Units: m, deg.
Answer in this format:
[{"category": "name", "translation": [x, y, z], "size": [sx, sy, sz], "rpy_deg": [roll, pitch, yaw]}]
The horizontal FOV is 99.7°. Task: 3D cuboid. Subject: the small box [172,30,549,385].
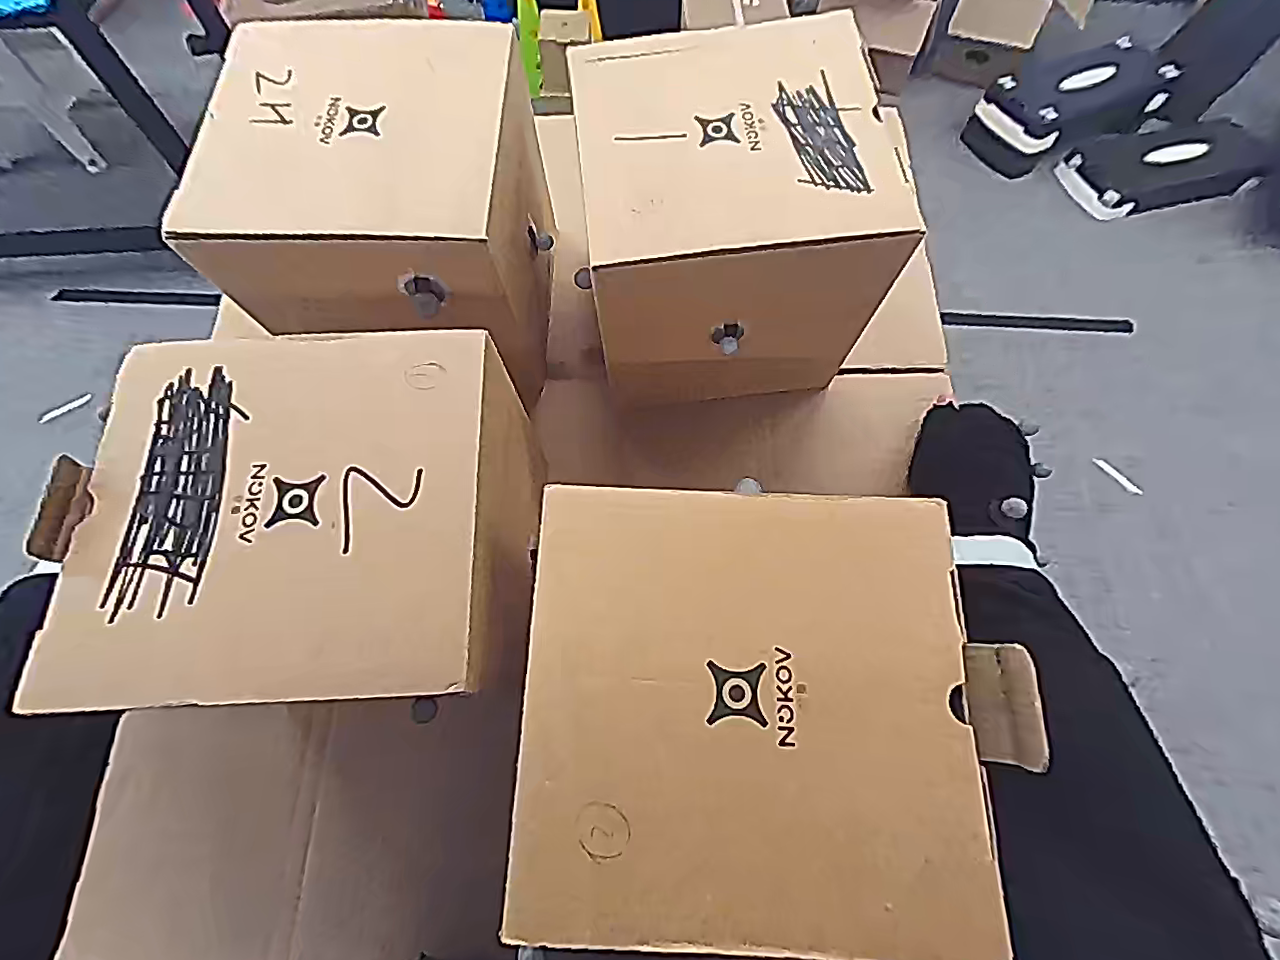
[{"category": "small box", "translation": [-0.169, -0.181, 0.397], "size": [0.179, 0.176, 0.168], "rpy_deg": [1, 71, 2]}]
